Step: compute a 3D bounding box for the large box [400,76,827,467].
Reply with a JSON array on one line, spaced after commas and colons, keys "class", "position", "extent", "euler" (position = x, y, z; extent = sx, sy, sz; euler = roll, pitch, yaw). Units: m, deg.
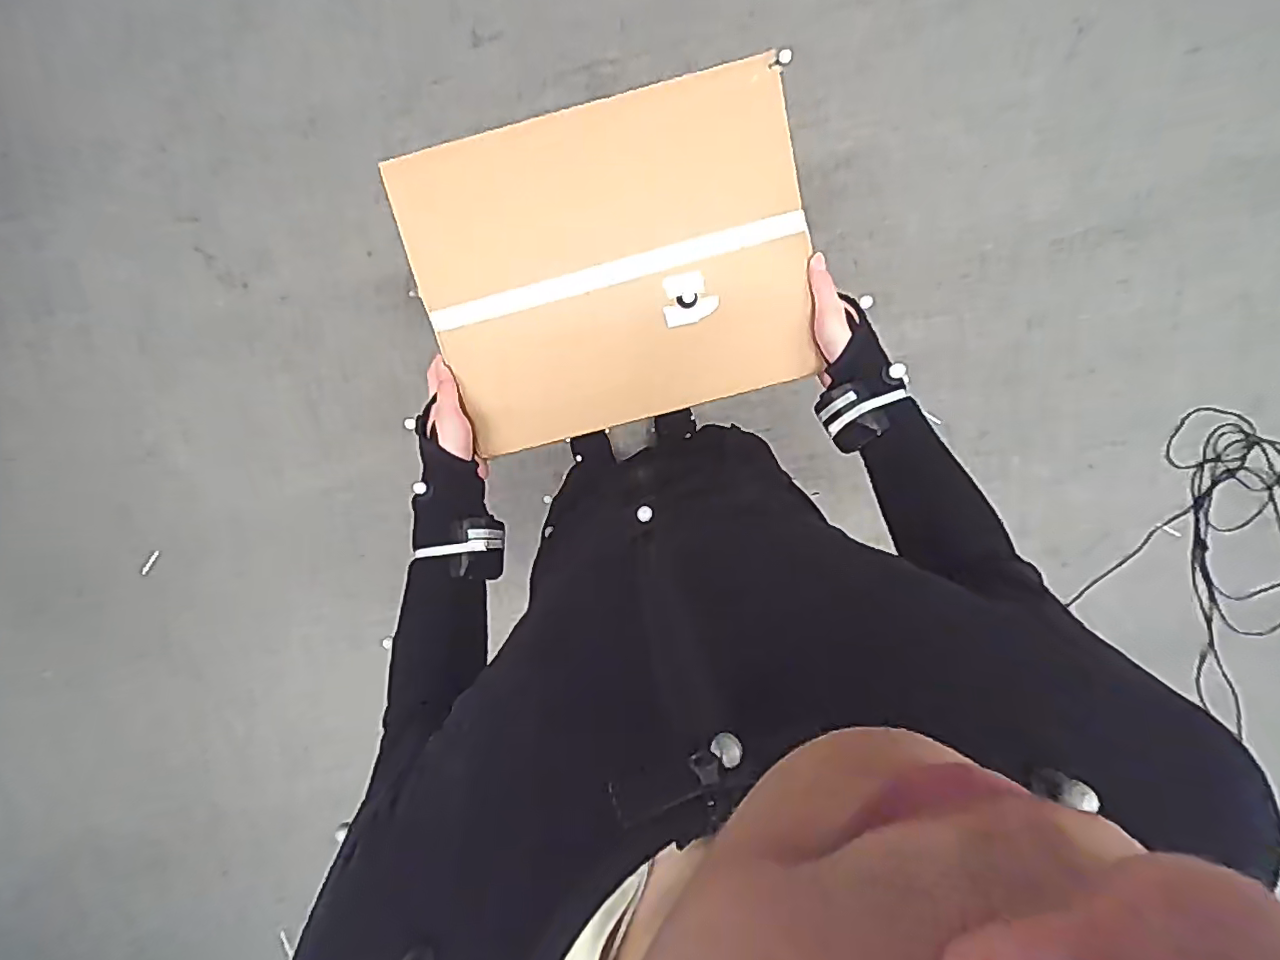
[{"class": "large box", "position": [-0.024, -0.240, 0.723], "extent": [0.408, 0.320, 0.320], "euler": [-15, 104, 2]}]
